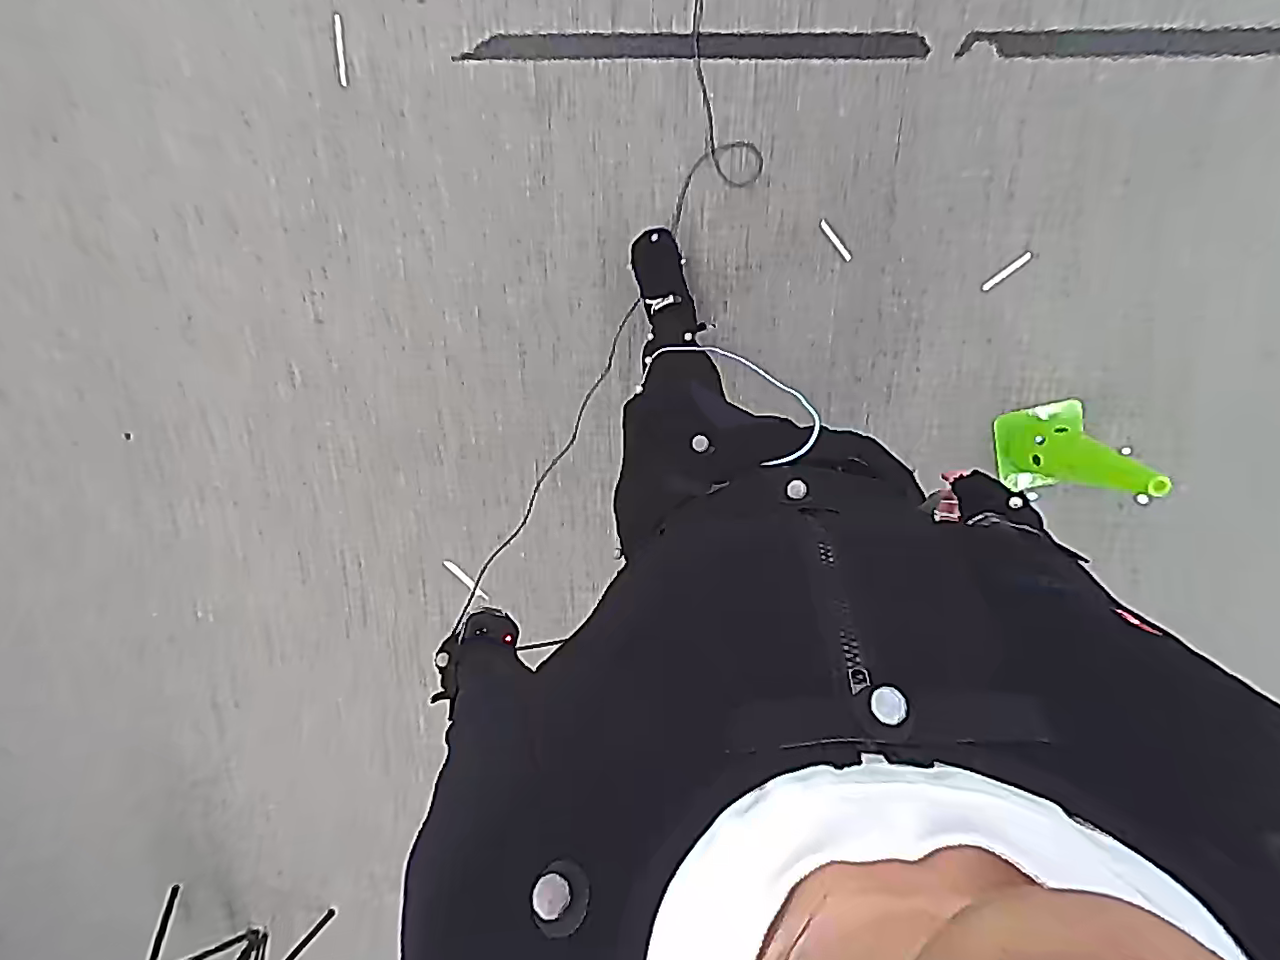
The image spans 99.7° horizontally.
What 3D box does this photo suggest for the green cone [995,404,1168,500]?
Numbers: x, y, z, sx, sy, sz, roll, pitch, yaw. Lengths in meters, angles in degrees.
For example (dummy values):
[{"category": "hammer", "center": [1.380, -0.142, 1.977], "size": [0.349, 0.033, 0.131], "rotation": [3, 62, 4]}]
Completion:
[{"category": "green cone", "center": [0.967, -0.031, 1.158], "size": [0.202, 0.368, 0.200], "rotation": [-13, 103, 9]}]
